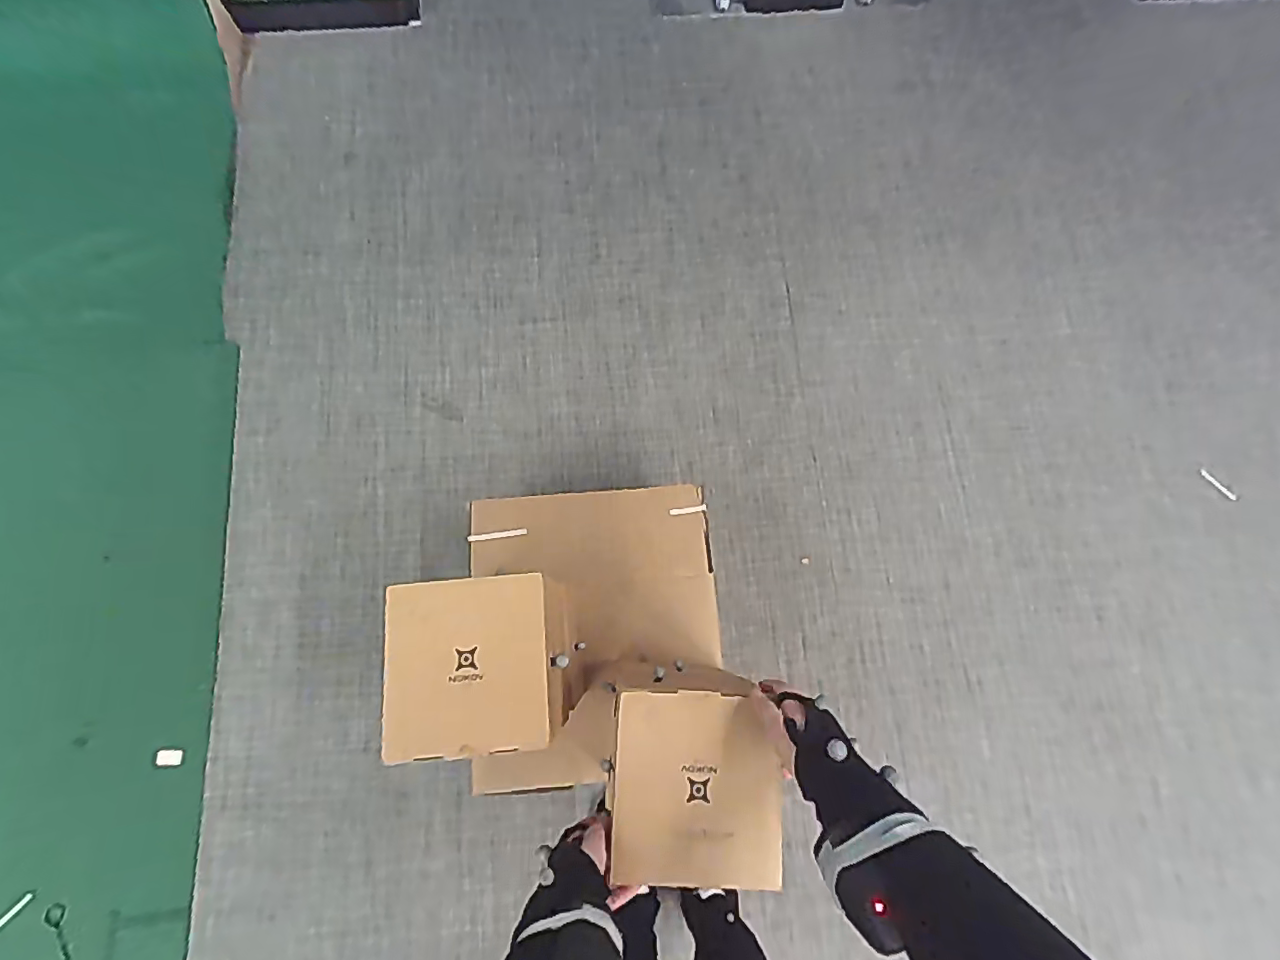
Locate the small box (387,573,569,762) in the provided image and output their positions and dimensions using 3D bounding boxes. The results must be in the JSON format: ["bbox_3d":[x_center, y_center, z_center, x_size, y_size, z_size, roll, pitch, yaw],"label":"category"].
[{"bbox_3d":[-0.175,0.208,0.632,0.168,0.176,0.179,-4,76,-2],"label":"small box"}]

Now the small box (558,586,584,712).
[{"bbox_3d":[-0.176,0.248,0.790,0.179,0.176,0.168,-6,75,-3],"label":"small box"}]

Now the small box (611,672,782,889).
[{"bbox_3d":[0.055,0.317,0.608,0.168,0.176,0.179,3,77,-1],"label":"small box"}]
